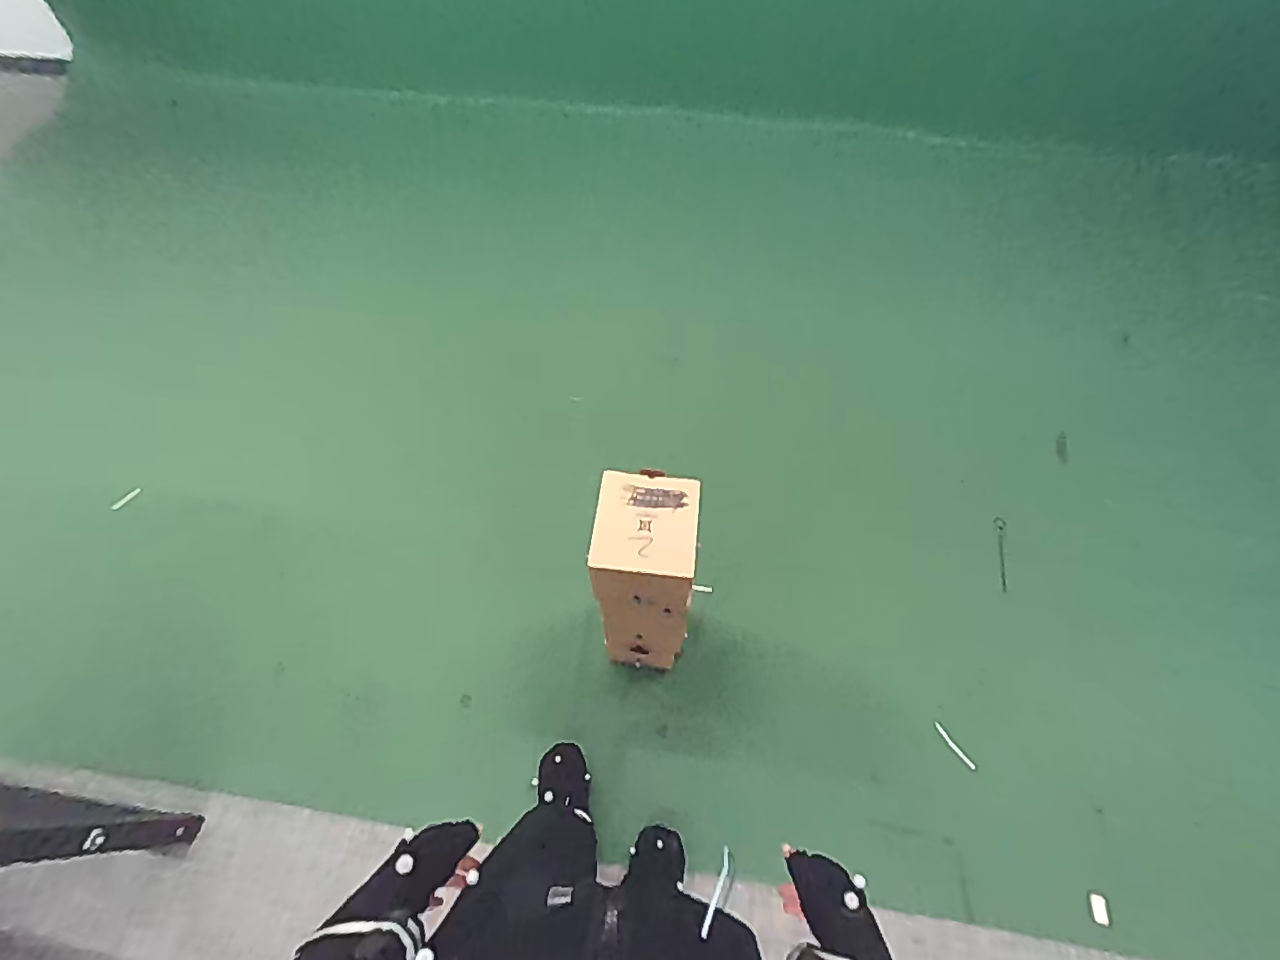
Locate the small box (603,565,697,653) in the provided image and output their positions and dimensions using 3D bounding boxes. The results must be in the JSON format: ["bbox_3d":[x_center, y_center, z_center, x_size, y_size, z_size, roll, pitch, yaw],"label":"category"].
[{"bbox_3d":[0.022,0.276,1.211,0.179,0.176,0.168,10,58,5],"label":"small box"}]

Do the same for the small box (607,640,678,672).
[{"bbox_3d":[0.017,0.363,1.352,0.168,0.176,0.179,7,60,5],"label":"small box"}]

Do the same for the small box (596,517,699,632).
[{"bbox_3d":[0.017,0.192,1.074,0.179,0.176,0.168,7,59,4],"label":"small box"}]
